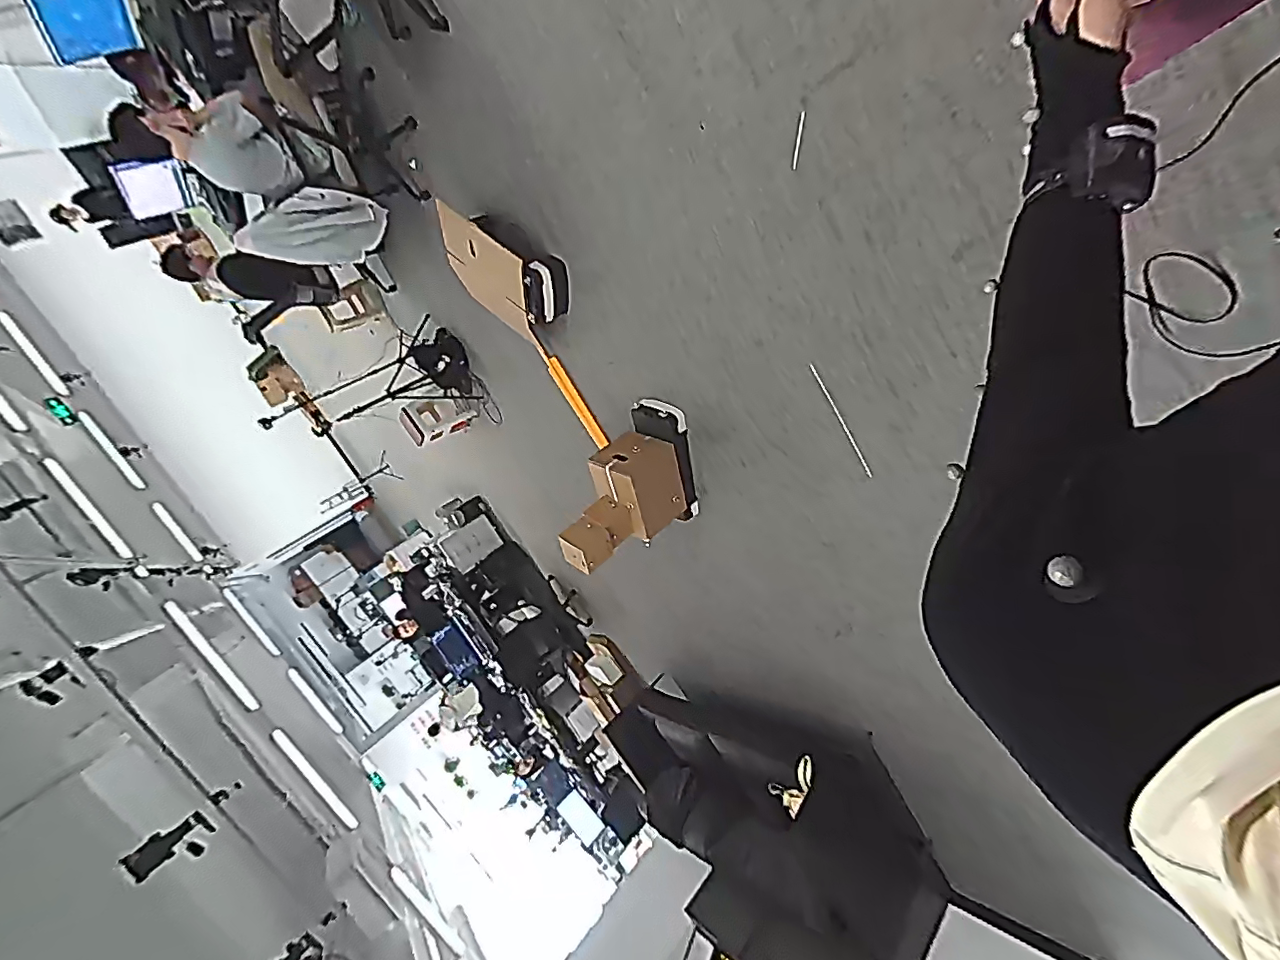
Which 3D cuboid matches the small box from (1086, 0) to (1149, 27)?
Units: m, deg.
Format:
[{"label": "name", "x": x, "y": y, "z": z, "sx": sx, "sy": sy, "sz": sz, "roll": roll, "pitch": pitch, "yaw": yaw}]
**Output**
[{"label": "small box", "x": 0.438, "y": -0.513, "z": 0.421, "sx": 0.179, "sy": 0.176, "sz": 0.168, "roll": 56, "pitch": 149, "yaw": -6}]
